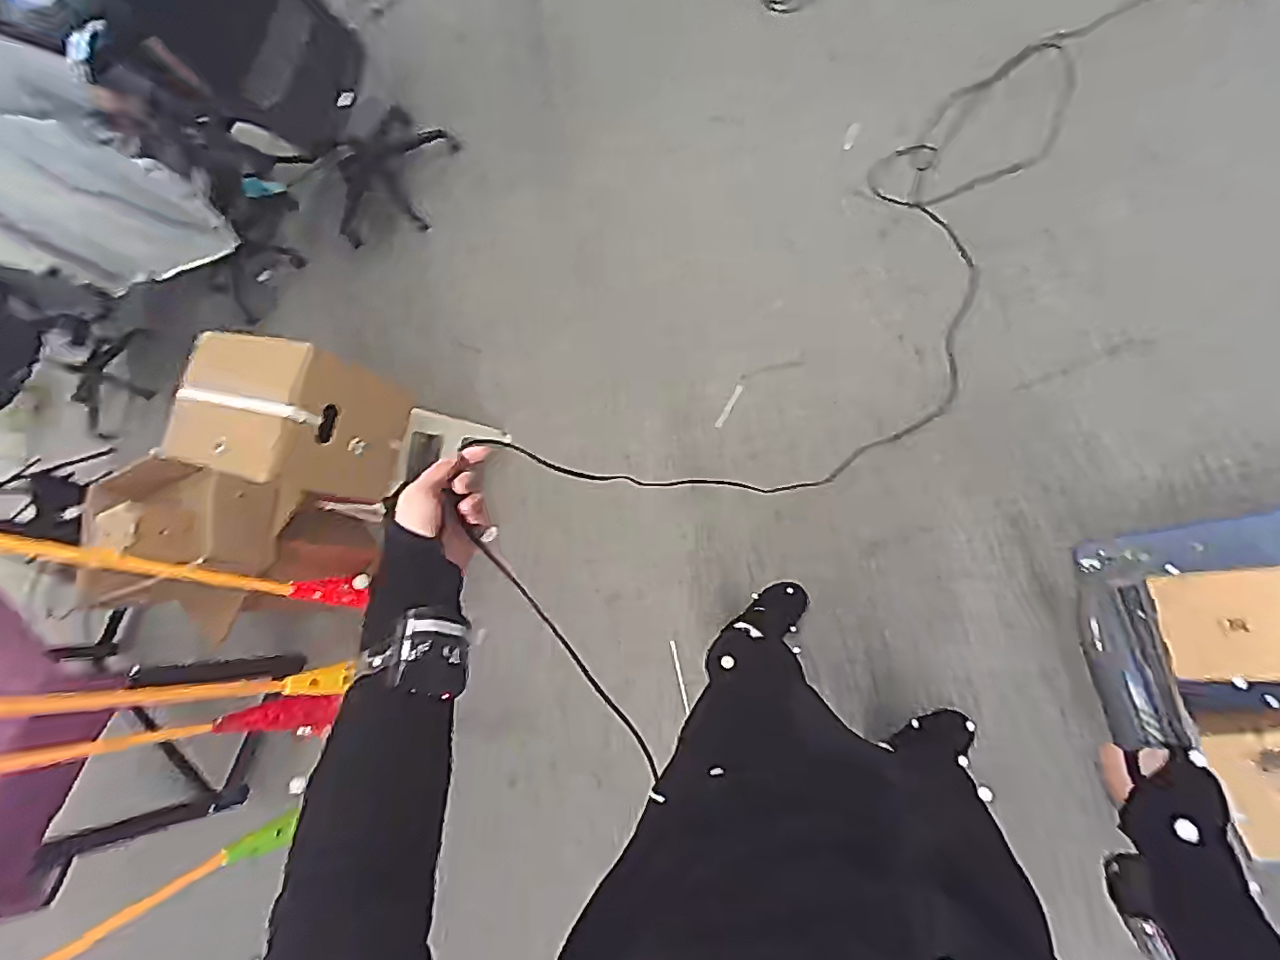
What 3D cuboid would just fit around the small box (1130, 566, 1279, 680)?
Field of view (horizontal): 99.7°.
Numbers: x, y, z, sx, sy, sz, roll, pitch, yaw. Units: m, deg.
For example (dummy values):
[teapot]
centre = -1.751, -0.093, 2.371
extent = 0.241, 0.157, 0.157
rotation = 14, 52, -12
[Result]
[small box]
centre = 0.976, 0.238, 0.919
extent = 0.179, 0.176, 0.168
rotation = -14, 75, 35
